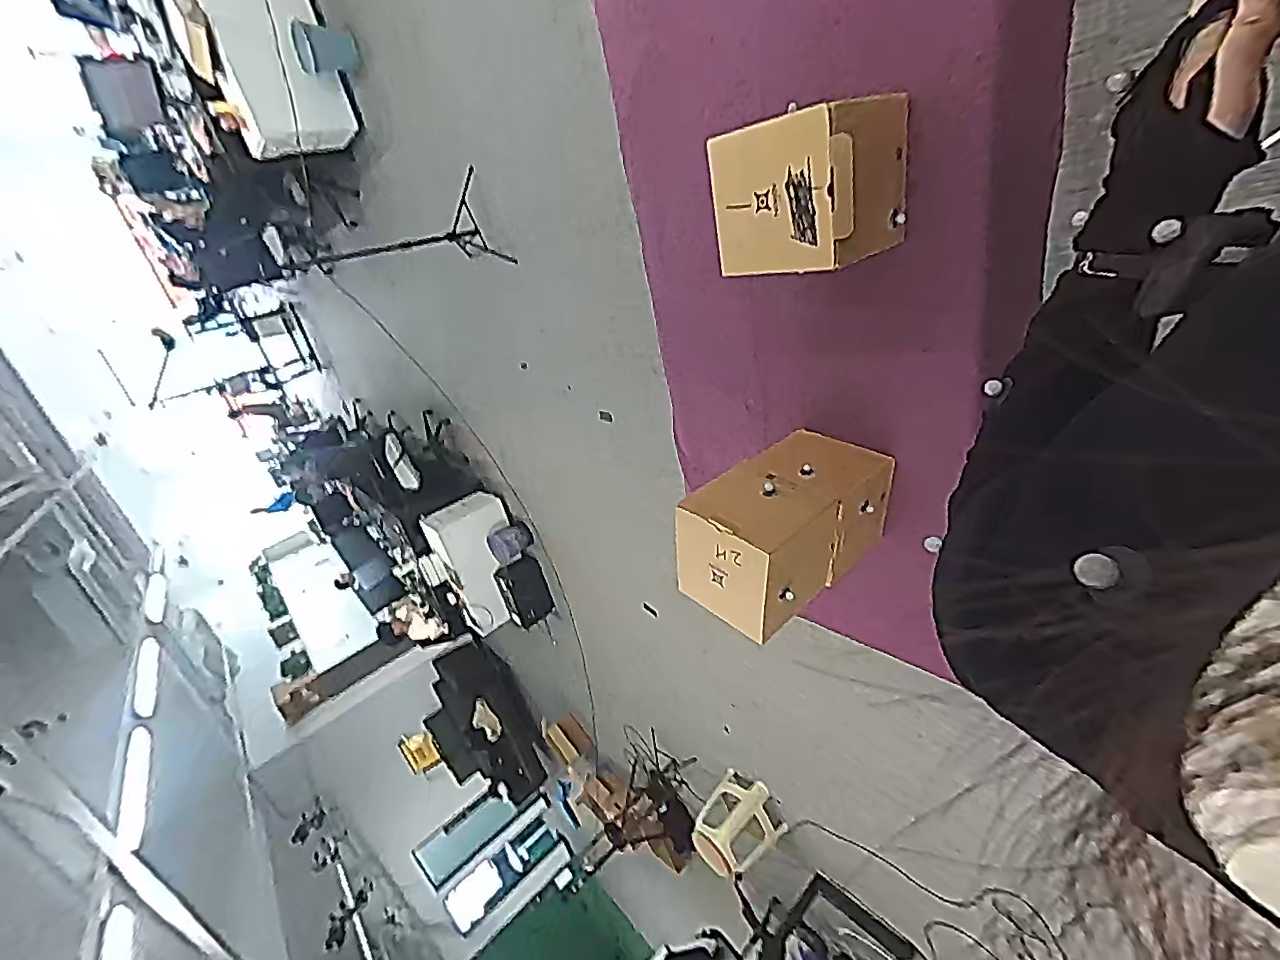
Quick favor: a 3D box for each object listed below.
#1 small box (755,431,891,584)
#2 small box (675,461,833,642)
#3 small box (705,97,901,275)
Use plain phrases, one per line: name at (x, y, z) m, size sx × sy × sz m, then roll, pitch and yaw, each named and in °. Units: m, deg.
small box at (0.292, 0.035, 0.906) m, size 0.179 × 0.176 × 0.168 m, roll 27°, pitch 135°, yaw 41°
small box at (0.170, 0.099, 0.816) m, size 0.168 × 0.176 × 0.179 m, roll 27°, pitch 135°, yaw 39°
small box at (0.211, -0.368, 0.690) m, size 0.179 × 0.176 × 0.168 m, roll 20°, pitch 131°, yaw 47°
